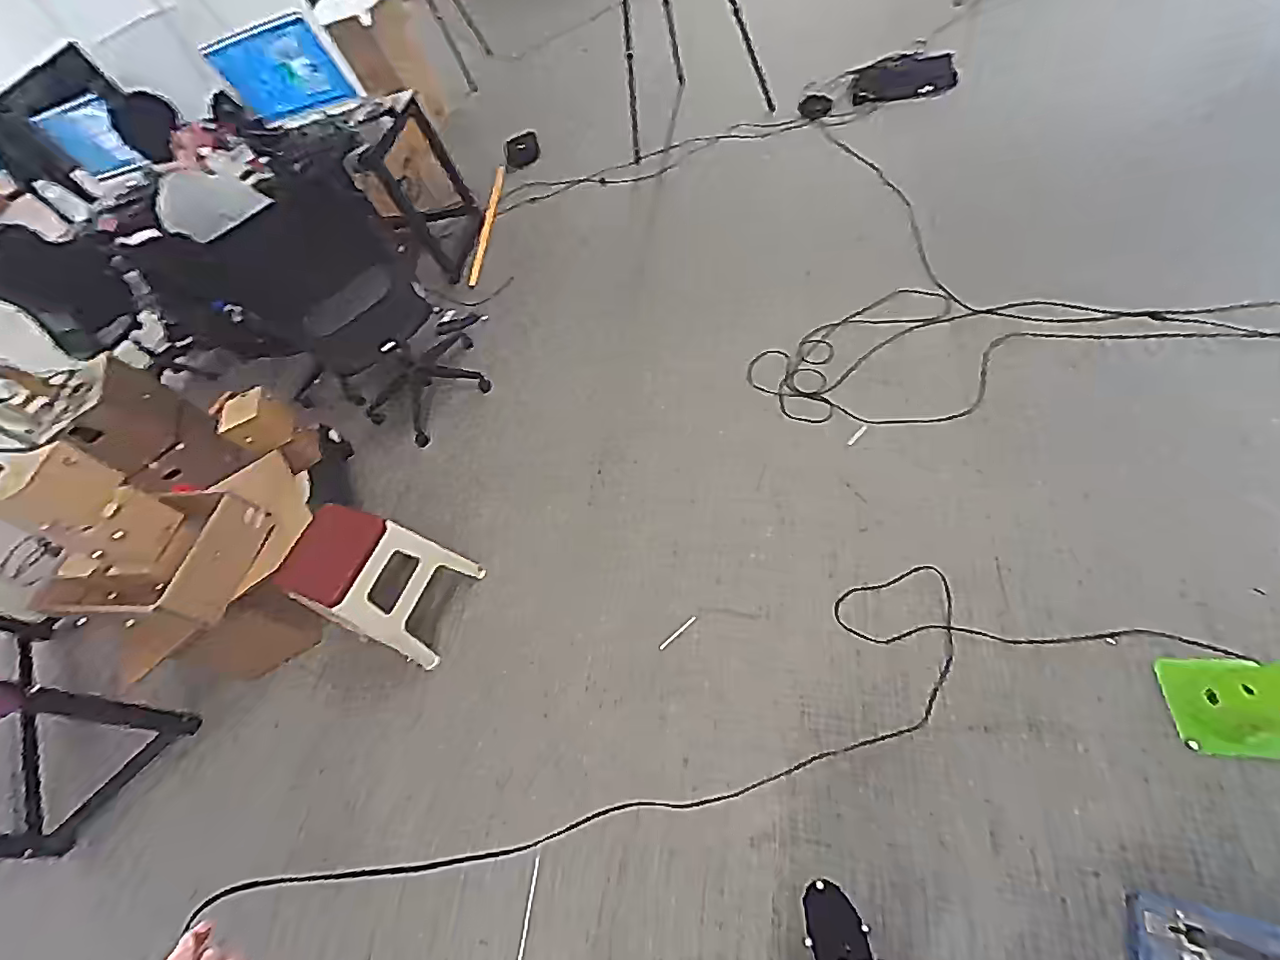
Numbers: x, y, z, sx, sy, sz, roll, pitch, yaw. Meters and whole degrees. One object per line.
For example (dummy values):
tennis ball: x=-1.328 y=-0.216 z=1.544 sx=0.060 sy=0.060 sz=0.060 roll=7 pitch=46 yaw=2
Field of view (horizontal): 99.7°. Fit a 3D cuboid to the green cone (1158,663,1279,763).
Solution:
green cone: x=1.227 y=0.406 z=1.034 sx=0.200 sy=0.368 sz=0.202 roll=-5 pitch=56 yaw=17
